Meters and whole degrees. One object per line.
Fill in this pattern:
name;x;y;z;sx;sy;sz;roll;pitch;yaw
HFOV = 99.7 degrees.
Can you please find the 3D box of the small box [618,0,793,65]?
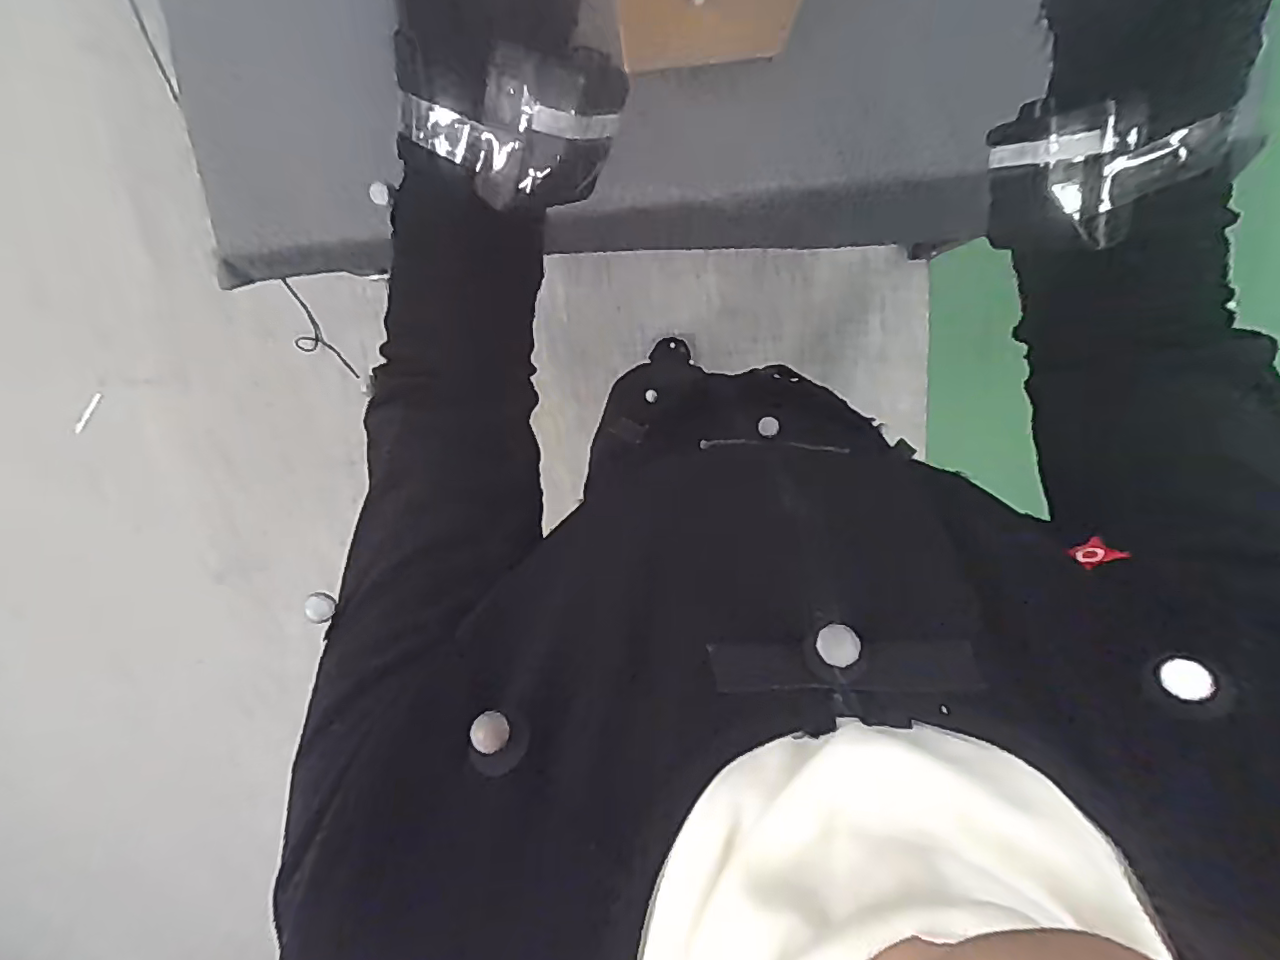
small box;0.061;-0.532;0.514;0.179;0.176;0.168;-4;101;3
